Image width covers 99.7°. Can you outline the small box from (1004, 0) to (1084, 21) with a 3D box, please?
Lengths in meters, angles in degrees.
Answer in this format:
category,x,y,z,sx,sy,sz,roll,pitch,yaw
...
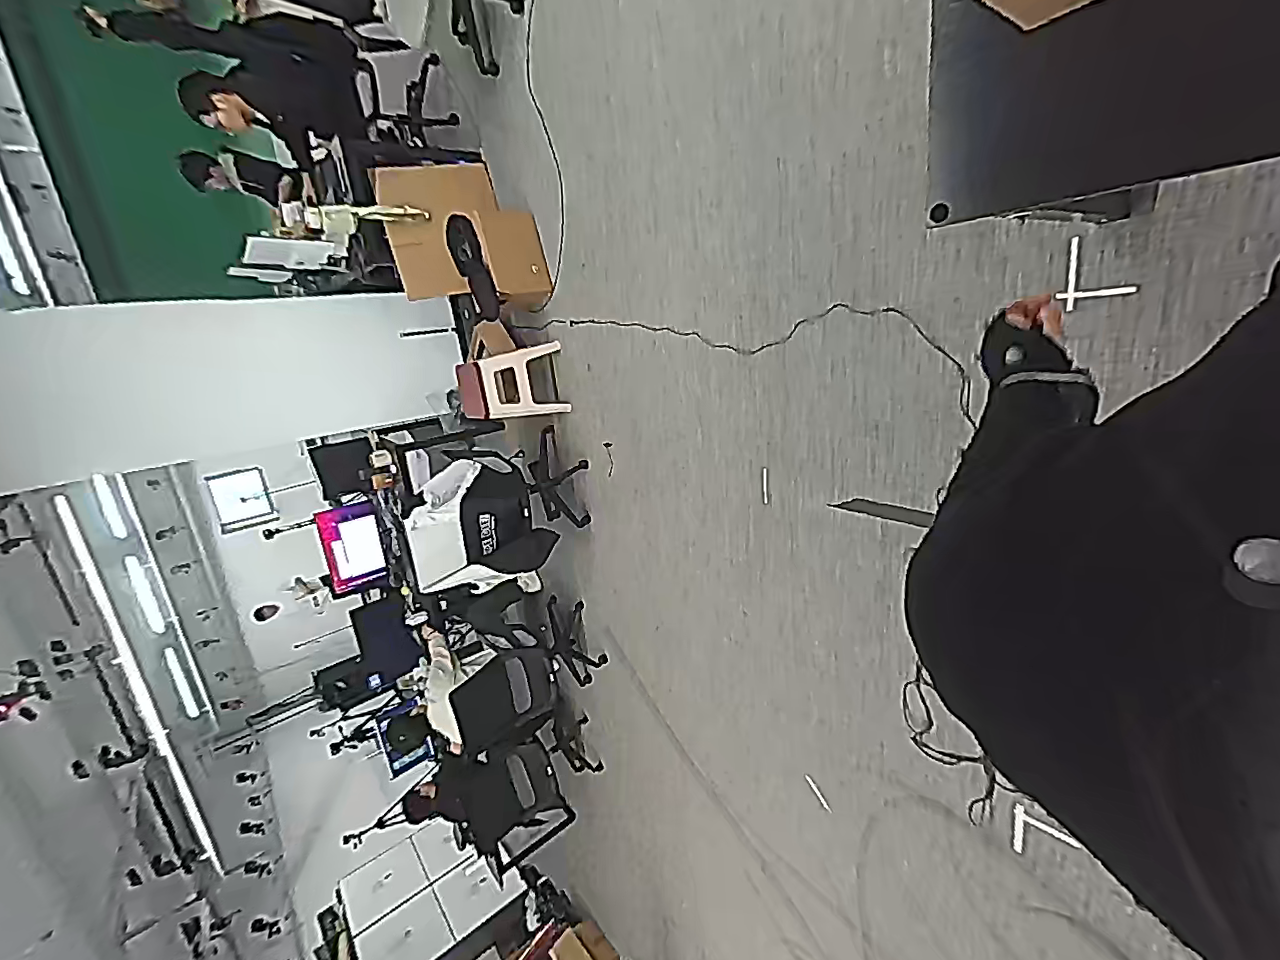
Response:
category,x,y,z,sx,sy,sz,roll,pitch,yaw
small box,0.400,-0.550,0.464,0.168,0.176,0.179,10,114,51
